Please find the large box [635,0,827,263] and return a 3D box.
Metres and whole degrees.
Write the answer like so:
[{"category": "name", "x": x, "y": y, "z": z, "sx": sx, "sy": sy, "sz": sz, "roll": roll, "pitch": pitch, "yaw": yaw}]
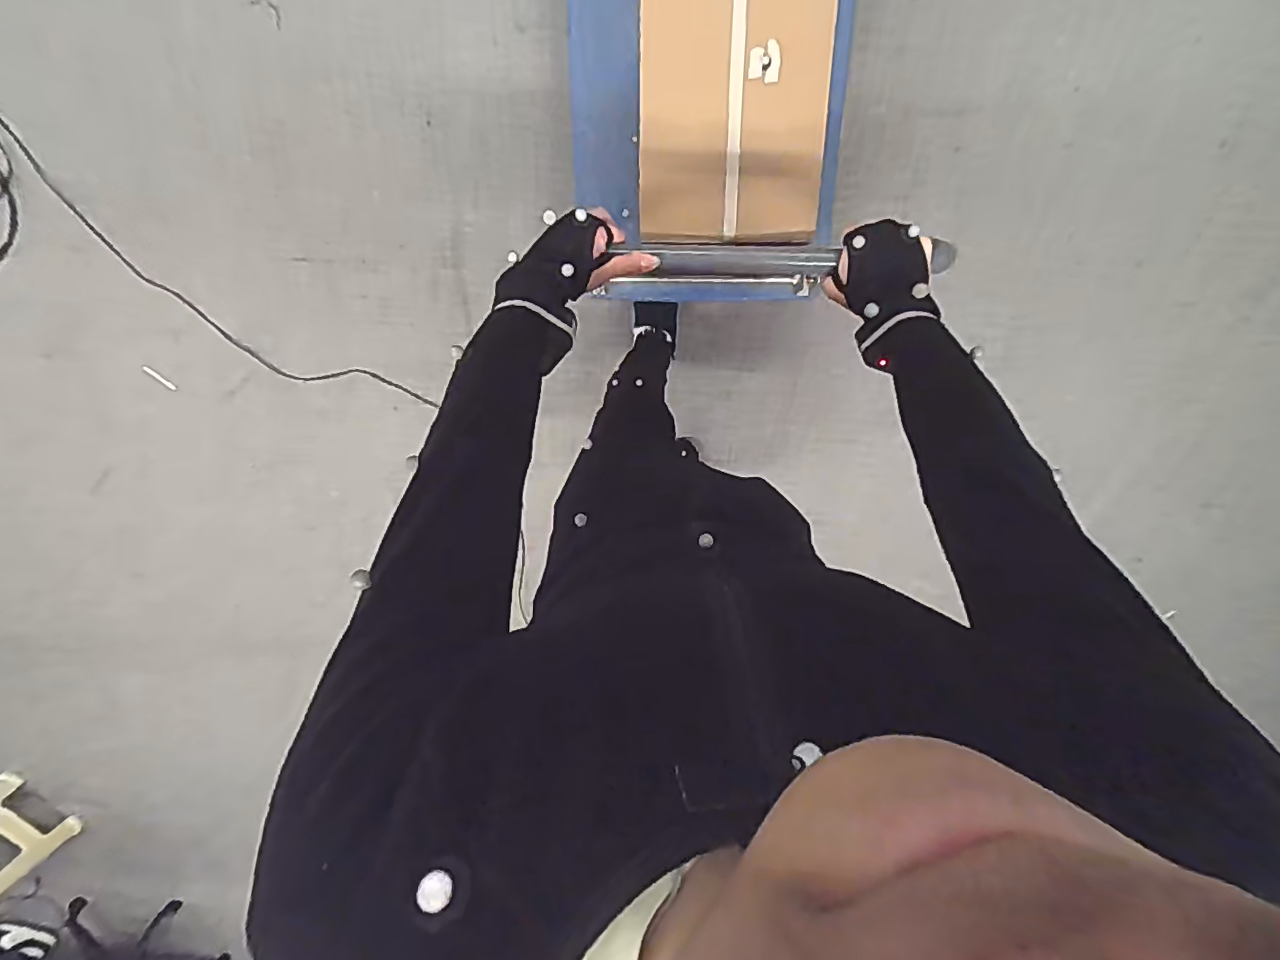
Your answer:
[{"category": "large box", "x": 0.153, "y": -0.654, "z": 1.063, "sx": 0.320, "sy": 0.320, "sz": 0.408, "roll": 0, "pitch": 108, "yaw": 1}]
